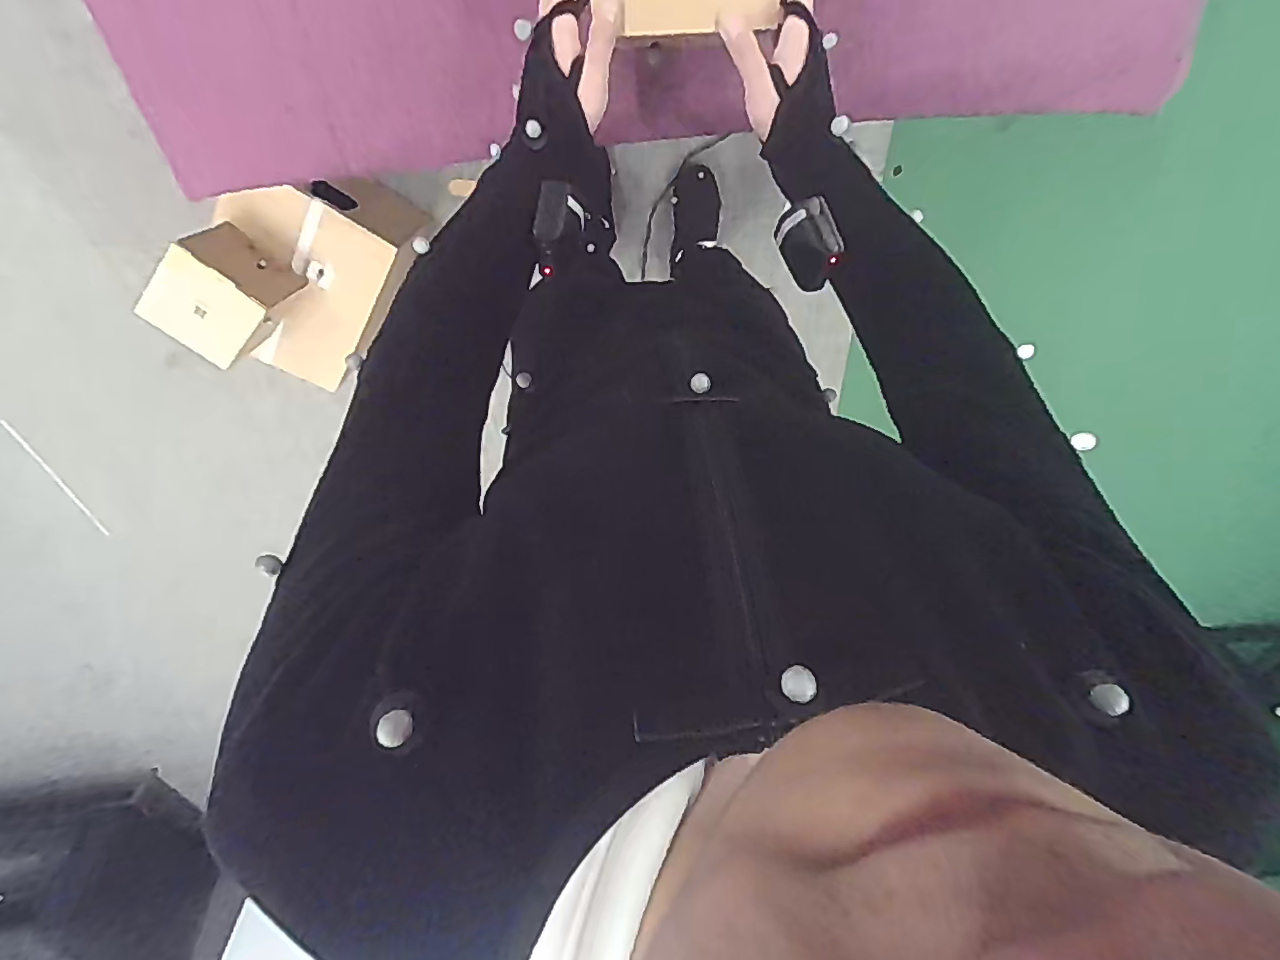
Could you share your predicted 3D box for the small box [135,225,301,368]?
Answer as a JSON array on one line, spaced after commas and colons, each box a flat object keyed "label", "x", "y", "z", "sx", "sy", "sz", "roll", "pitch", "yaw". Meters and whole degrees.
[{"label": "small box", "x": -0.802, "y": -0.357, "z": 1.047, "sx": 0.179, "sy": 0.176, "sz": 0.168, "roll": -38, "pitch": 119, "yaw": 21}]

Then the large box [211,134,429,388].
[{"label": "large box", "x": -0.742, "y": -0.500, "z": 1.250, "sx": 0.320, "sy": 0.320, "sz": 0.408, "roll": 27, "pitch": 119, "yaw": -24}]

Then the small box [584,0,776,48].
[{"label": "small box", "x": 0.028, "y": -0.503, "z": 0.481, "sx": 0.168, "sy": 0.176, "sz": 0.179, "roll": -3, "pitch": 127, "yaw": -1}]
